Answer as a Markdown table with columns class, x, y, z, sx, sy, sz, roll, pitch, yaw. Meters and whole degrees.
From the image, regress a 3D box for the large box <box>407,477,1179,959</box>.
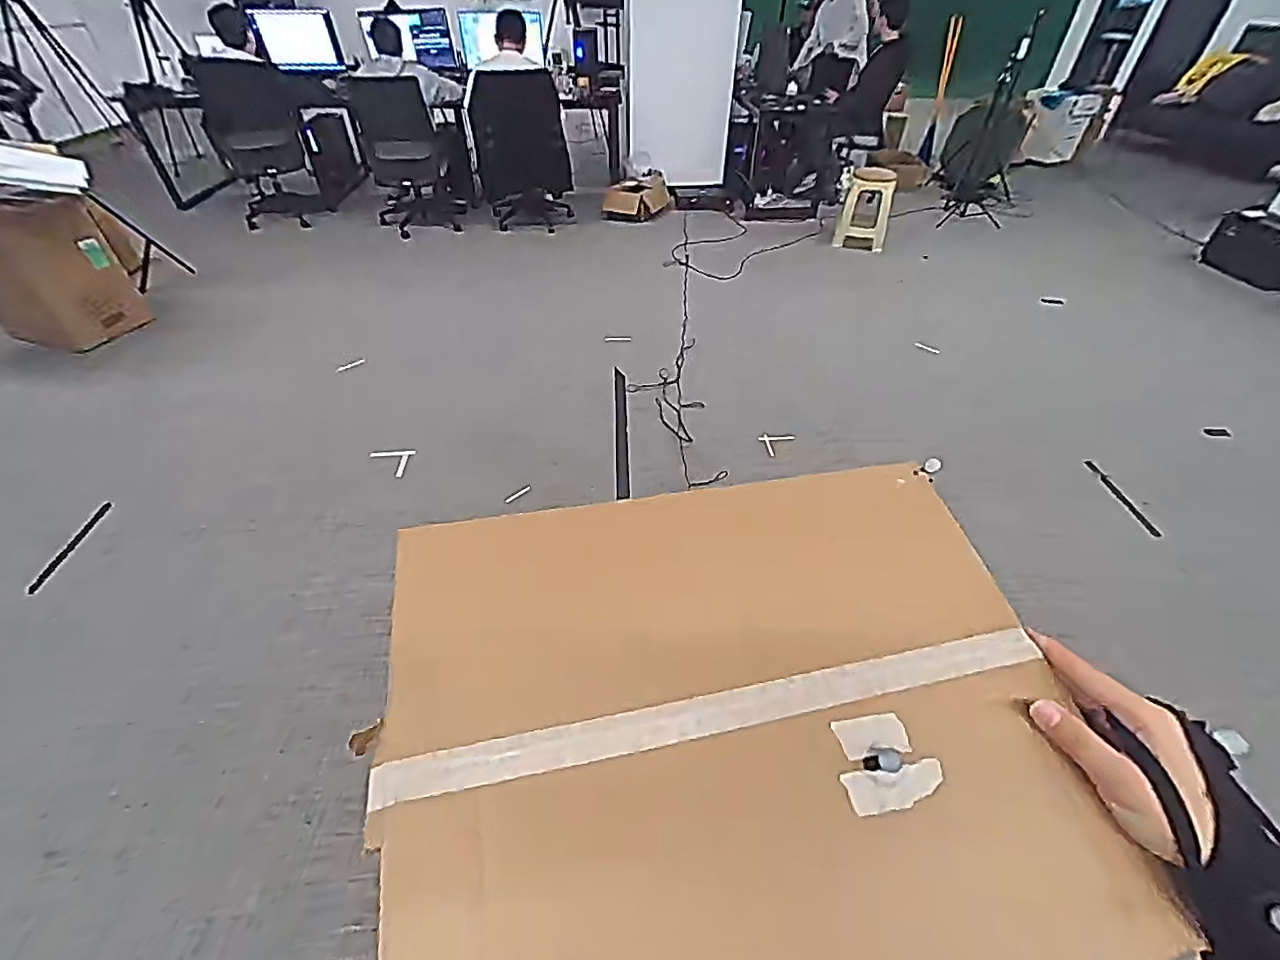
| class | x | y | z | sx | sy | sz | roll | pitch | yaw |
| --- | --- | --- | --- | --- | --- | --- | --- | --- | --- |
| large box | 0.052 | 0.232 | 0.451 | 0.408 | 0.320 | 0.320 | -7 | 56 | -11 |
